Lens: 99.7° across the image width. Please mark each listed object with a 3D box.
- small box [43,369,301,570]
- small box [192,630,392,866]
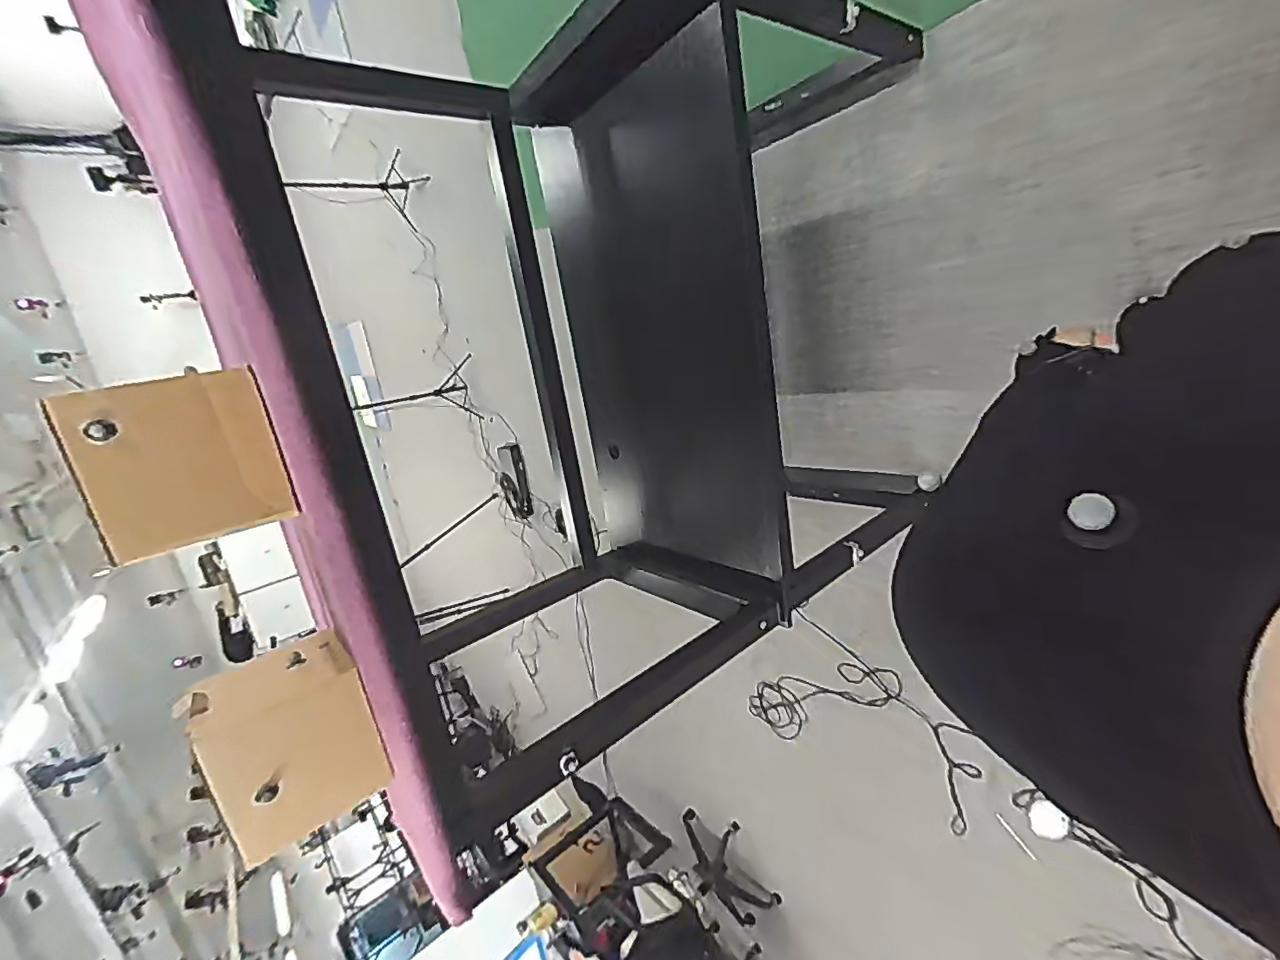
[{"bbox_3d":[-0.514,-0.023,0.623,0.168,0.176,0.179,9,113,52],"label":"small box"},{"bbox_3d":[-0.441,0.325,0.696,0.168,0.176,0.179,7,112,50],"label":"small box"}]
